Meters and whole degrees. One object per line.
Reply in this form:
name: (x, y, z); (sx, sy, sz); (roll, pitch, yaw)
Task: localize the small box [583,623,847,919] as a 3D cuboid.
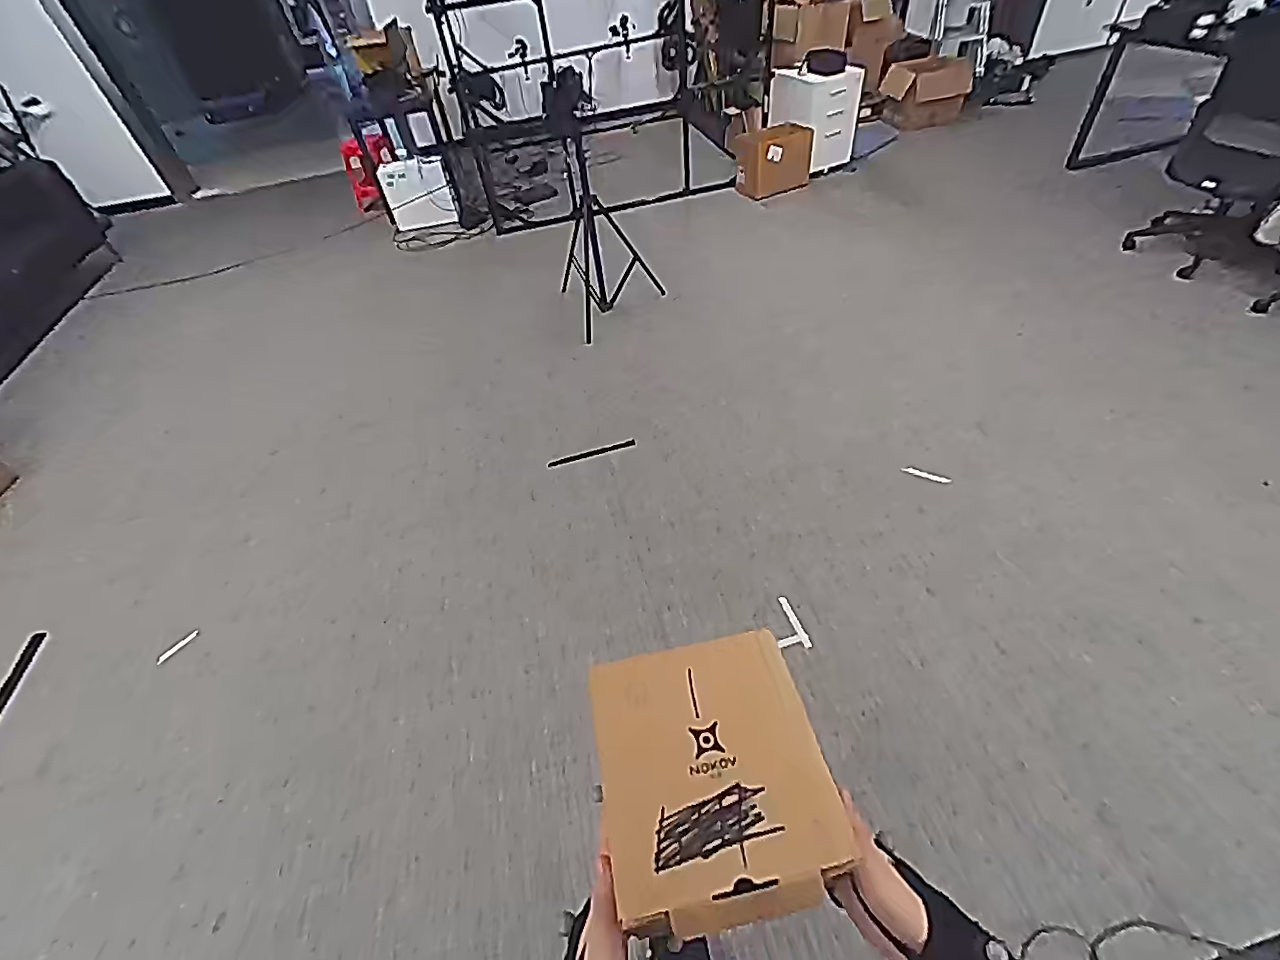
small box: (0.052, 0.255, 0.469); (0.168, 0.176, 0.179); (-11, 47, -5)
